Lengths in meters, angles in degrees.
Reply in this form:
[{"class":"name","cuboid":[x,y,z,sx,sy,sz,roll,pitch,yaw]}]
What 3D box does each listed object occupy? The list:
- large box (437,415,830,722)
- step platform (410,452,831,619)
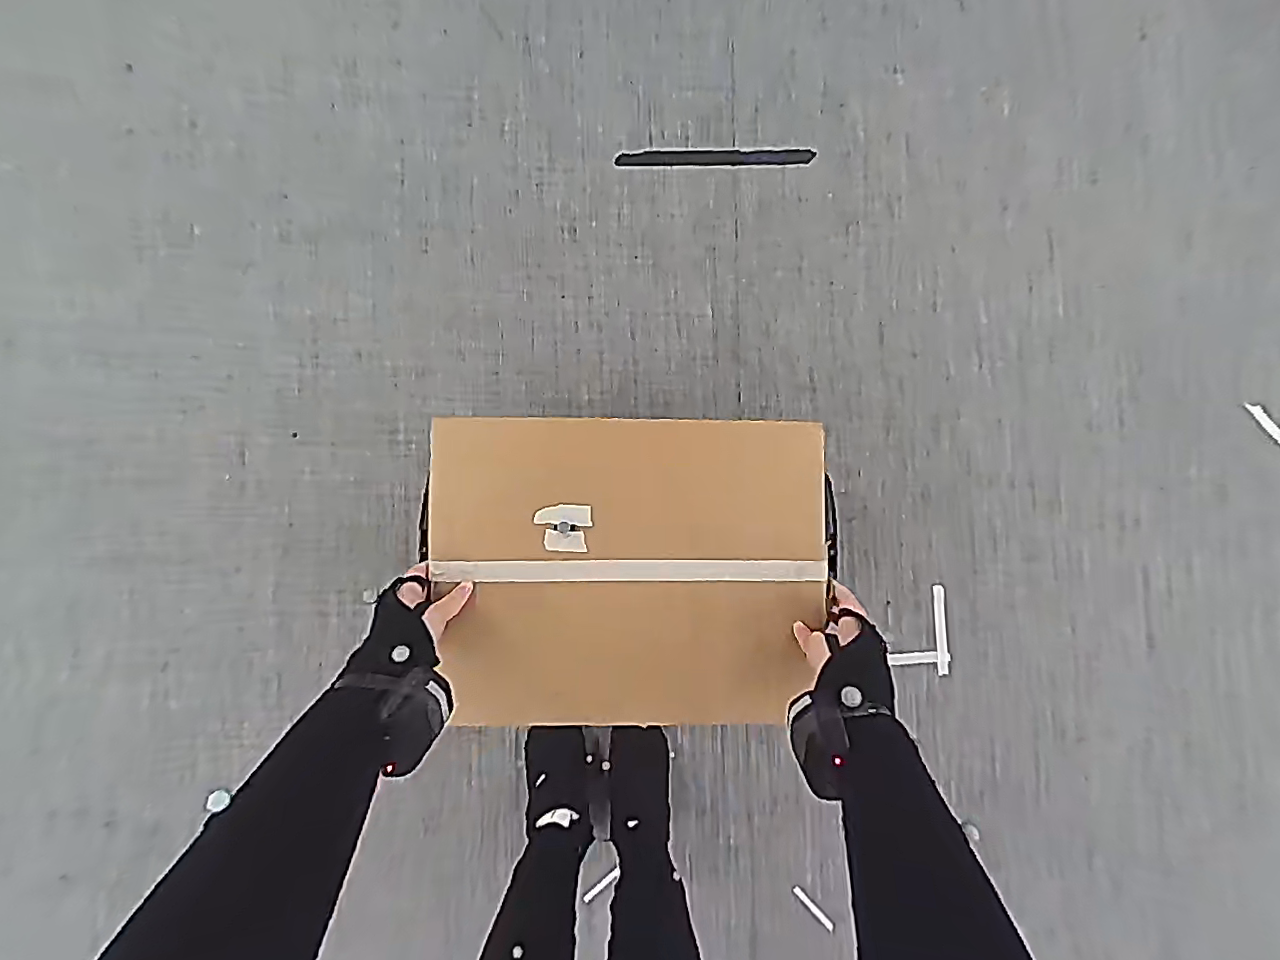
[{"class":"large box","cuboid":[-0.006,0.093,0.698,0.408,0.320,0.320,0,88,0]},{"class":"step platform","cuboid":[-0.029,0.116,0.935,0.684,0.204,0.286,6,88,0]}]
